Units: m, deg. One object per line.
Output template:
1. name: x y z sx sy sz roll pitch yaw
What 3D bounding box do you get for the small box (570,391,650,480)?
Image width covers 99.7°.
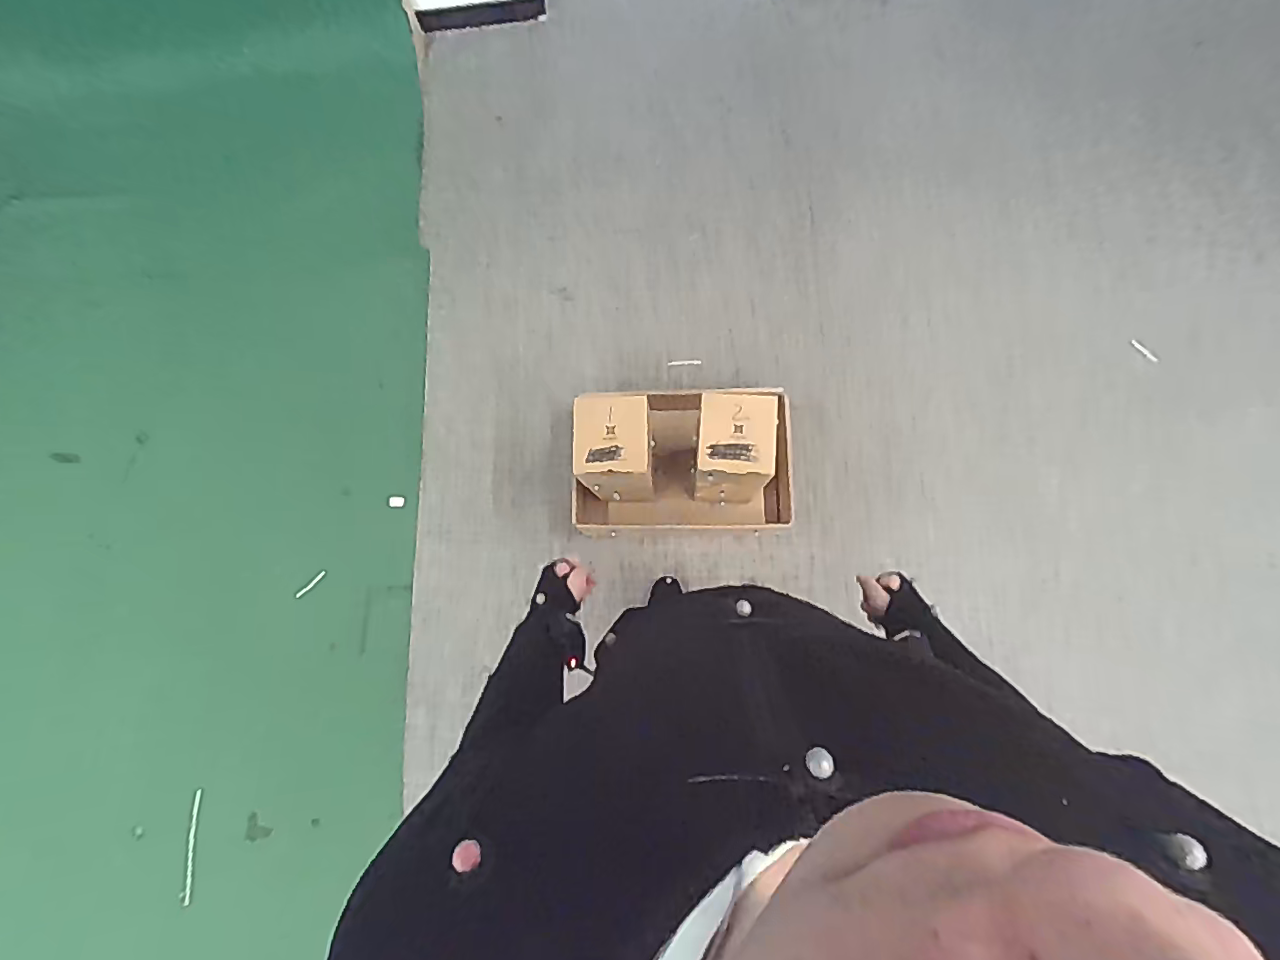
1. small box: -0.064 -0.096 1.251 0.168 0.176 0.179 -1 80 3

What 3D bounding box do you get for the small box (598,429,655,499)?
1. small box: -0.043 -0.047 1.573 0.168 0.176 0.179 1 80 4

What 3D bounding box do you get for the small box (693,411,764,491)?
1. small box: 0.224 -0.071 1.396 0.168 0.176 0.179 1 82 4

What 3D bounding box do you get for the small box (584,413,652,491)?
1. small box: -0.053 -0.071 1.414 0.168 0.176 0.179 1 81 3
